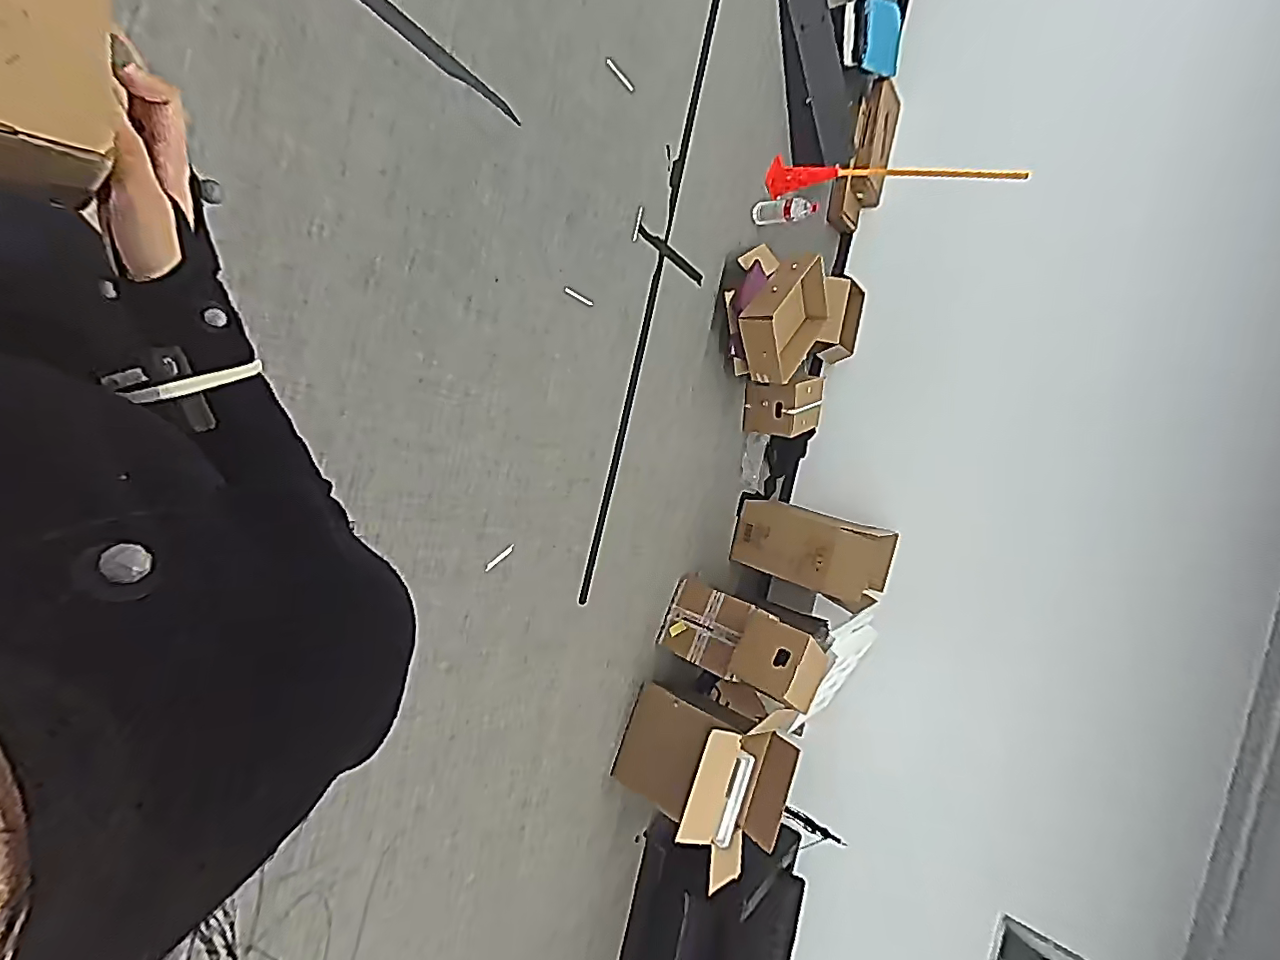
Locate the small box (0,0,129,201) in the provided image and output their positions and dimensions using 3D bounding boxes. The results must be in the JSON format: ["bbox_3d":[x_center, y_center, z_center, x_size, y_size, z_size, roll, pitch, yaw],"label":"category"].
[{"bbox_3d":[-0.342,-0.242,0.233,0.168,0.176,0.179,-4,105,-49],"label":"small box"}]
